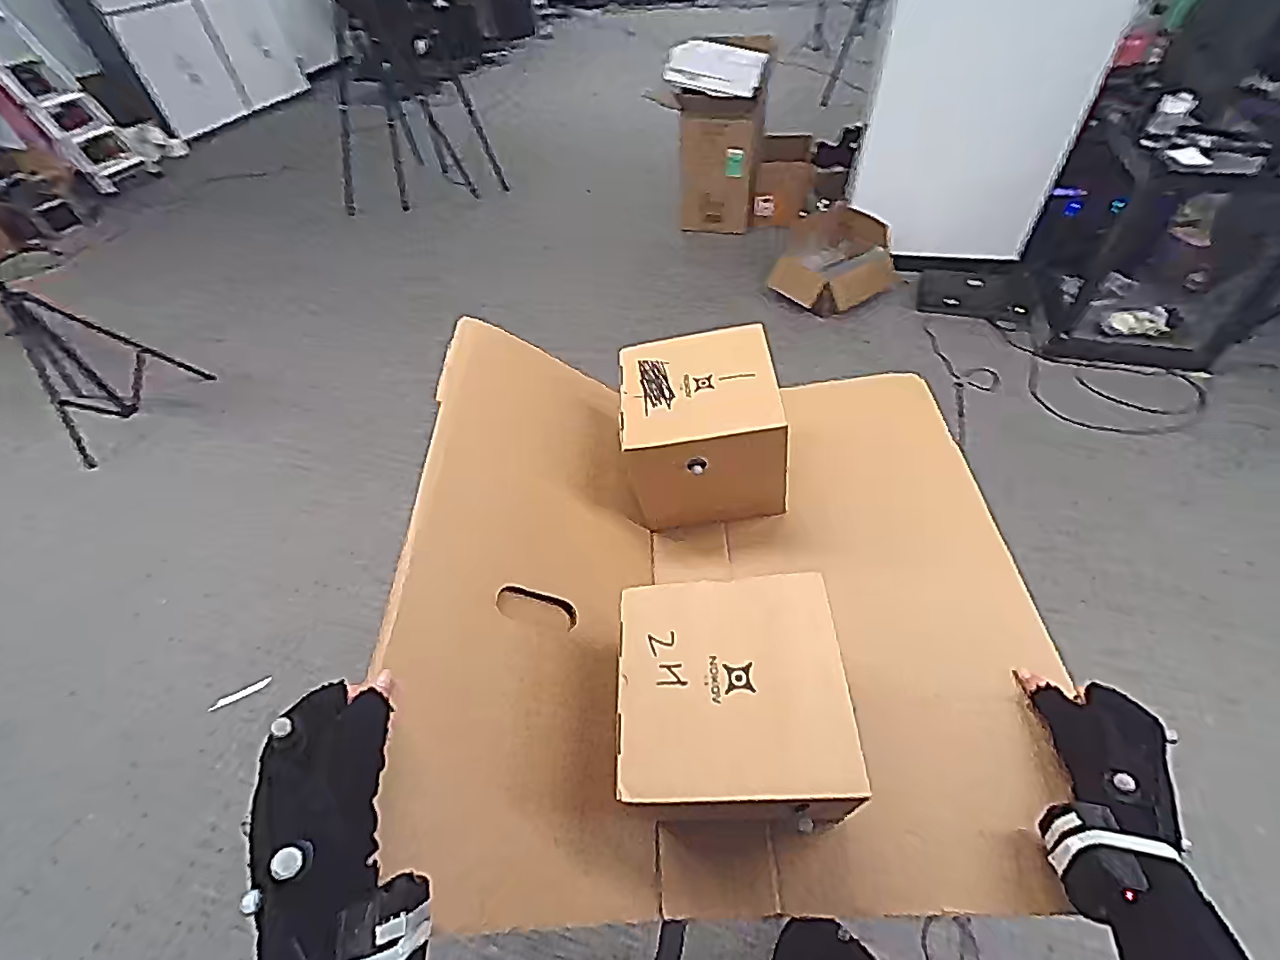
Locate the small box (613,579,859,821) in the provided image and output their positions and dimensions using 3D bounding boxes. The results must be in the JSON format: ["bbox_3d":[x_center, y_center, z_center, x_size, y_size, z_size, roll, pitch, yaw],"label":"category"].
[{"bbox_3d":[0.081,0.205,0.491,0.179,0.176,0.168,-7,53,10],"label":"small box"}]

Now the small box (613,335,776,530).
[{"bbox_3d":[0.070,-0.051,0.682,0.179,0.176,0.168,-9,53,7],"label":"small box"}]
